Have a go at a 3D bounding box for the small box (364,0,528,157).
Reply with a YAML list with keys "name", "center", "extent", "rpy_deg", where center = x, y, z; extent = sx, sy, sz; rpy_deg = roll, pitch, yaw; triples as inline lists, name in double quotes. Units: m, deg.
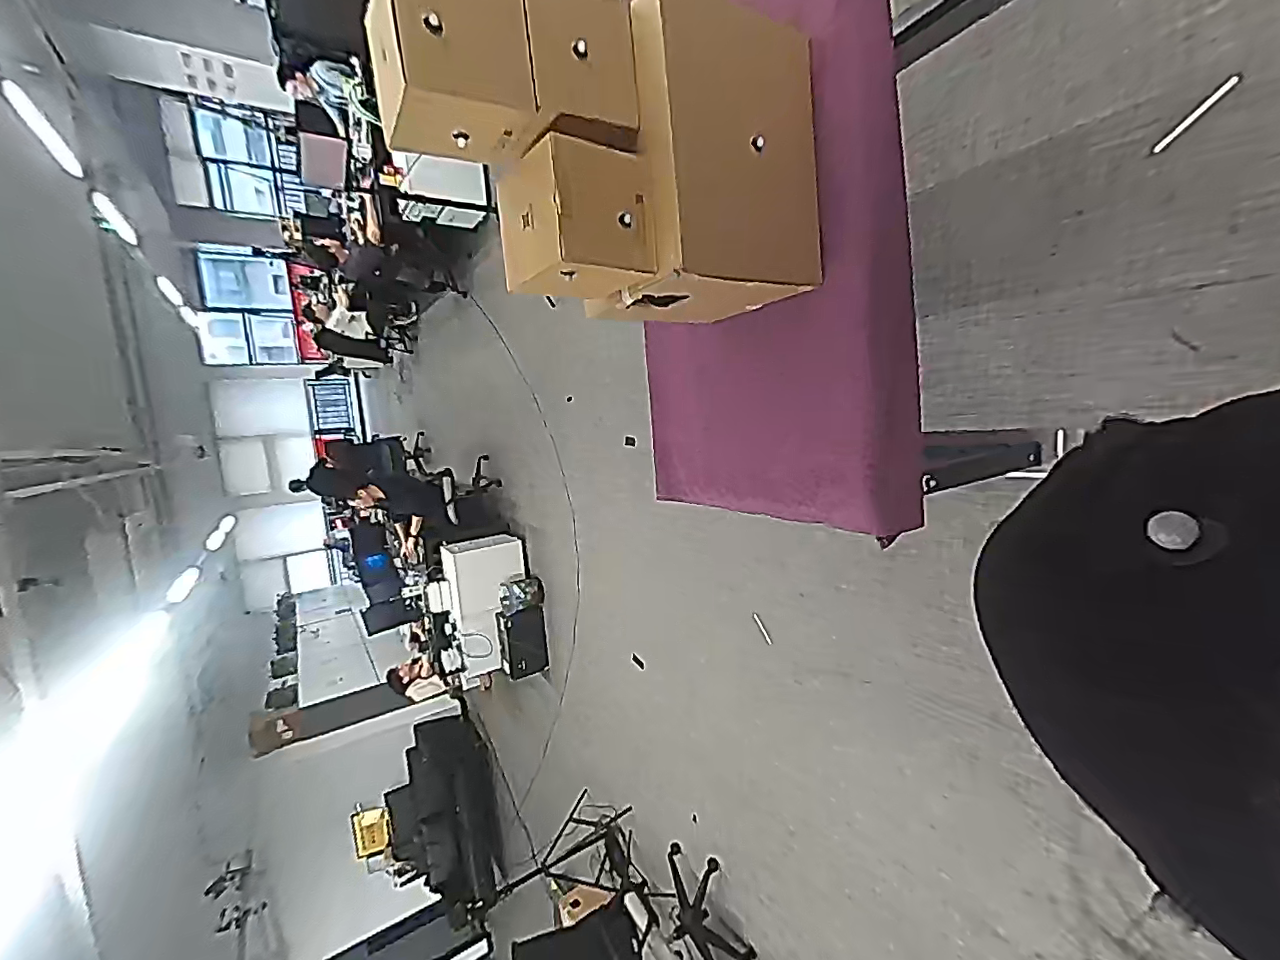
- name: "small box"
  center: [-0.260, -0.561, 0.729]
  extent: [0.168, 0.176, 0.179]
  rpy_deg: [7, 104, 58]
